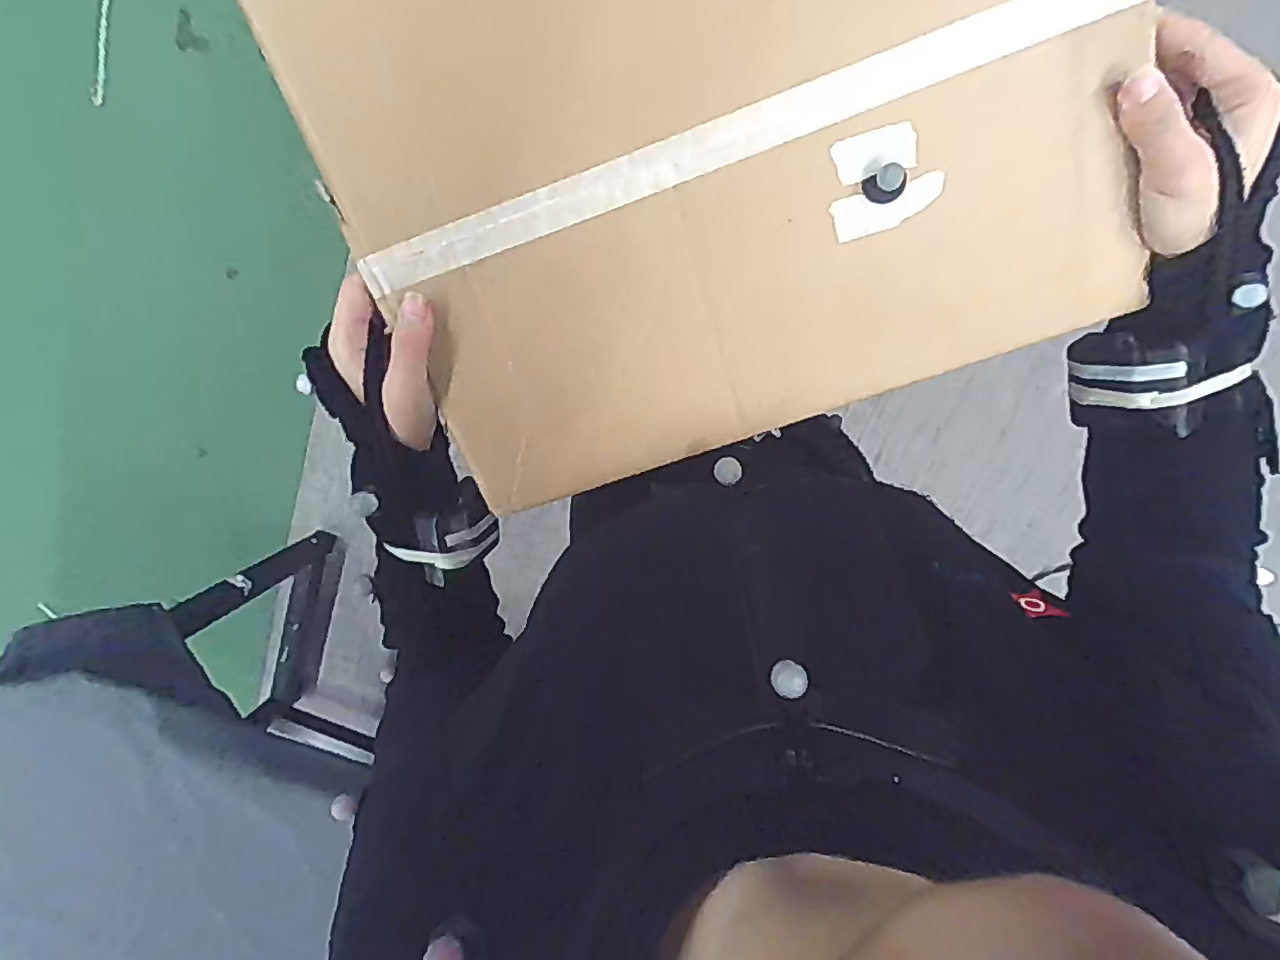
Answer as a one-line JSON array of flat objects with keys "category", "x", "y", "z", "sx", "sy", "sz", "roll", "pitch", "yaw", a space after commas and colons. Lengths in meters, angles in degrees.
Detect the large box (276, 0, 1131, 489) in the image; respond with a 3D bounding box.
[{"category": "large box", "x": 0.045, "y": -0.241, "z": 0.422, "sx": 0.408, "sy": 0.320, "sz": 0.320, "roll": -19, "pitch": 111, "yaw": 4}]
